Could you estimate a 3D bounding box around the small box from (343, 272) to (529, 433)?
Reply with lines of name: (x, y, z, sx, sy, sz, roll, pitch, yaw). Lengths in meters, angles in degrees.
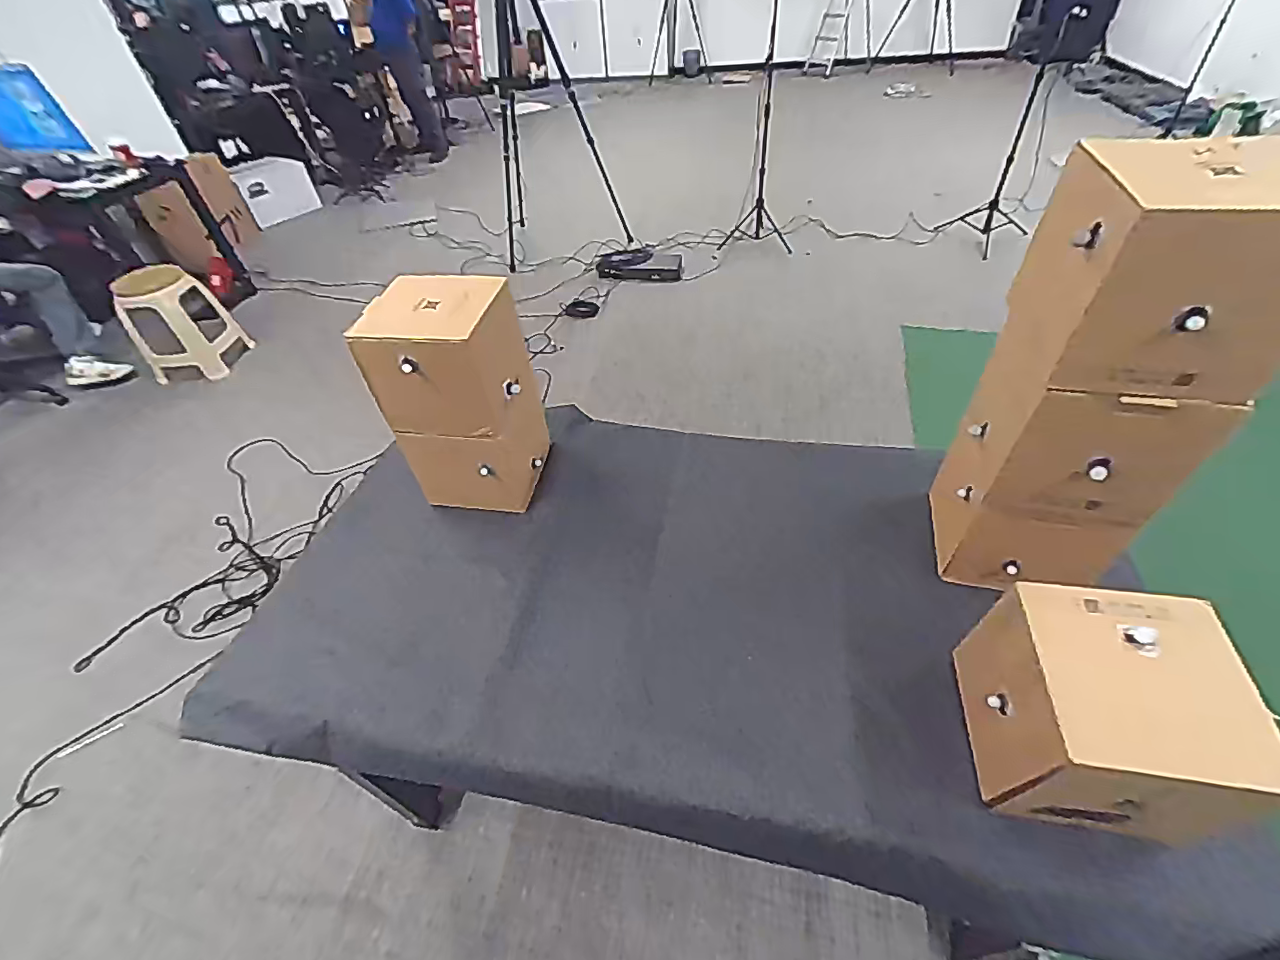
small box: (-0.280, -0.185, 0.790, 0.179, 0.176, 0.168, 4, 48, 8)

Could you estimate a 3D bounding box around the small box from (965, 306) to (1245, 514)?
small box: (0.496, -0.083, 0.615, 0.168, 0.176, 0.179, 8, 49, 14)

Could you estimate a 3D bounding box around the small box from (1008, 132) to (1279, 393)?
small box: (0.476, -0.198, 0.498, 0.168, 0.176, 0.179, 7, 47, 12)

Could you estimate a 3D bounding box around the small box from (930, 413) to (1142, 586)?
small box: (0.512, 0.027, 0.735, 0.168, 0.176, 0.179, 8, 48, 14)

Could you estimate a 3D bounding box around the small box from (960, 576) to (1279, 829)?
small box: (0.440, 0.217, 0.530, 0.168, 0.179, 0.176, 4, 50, 9)
